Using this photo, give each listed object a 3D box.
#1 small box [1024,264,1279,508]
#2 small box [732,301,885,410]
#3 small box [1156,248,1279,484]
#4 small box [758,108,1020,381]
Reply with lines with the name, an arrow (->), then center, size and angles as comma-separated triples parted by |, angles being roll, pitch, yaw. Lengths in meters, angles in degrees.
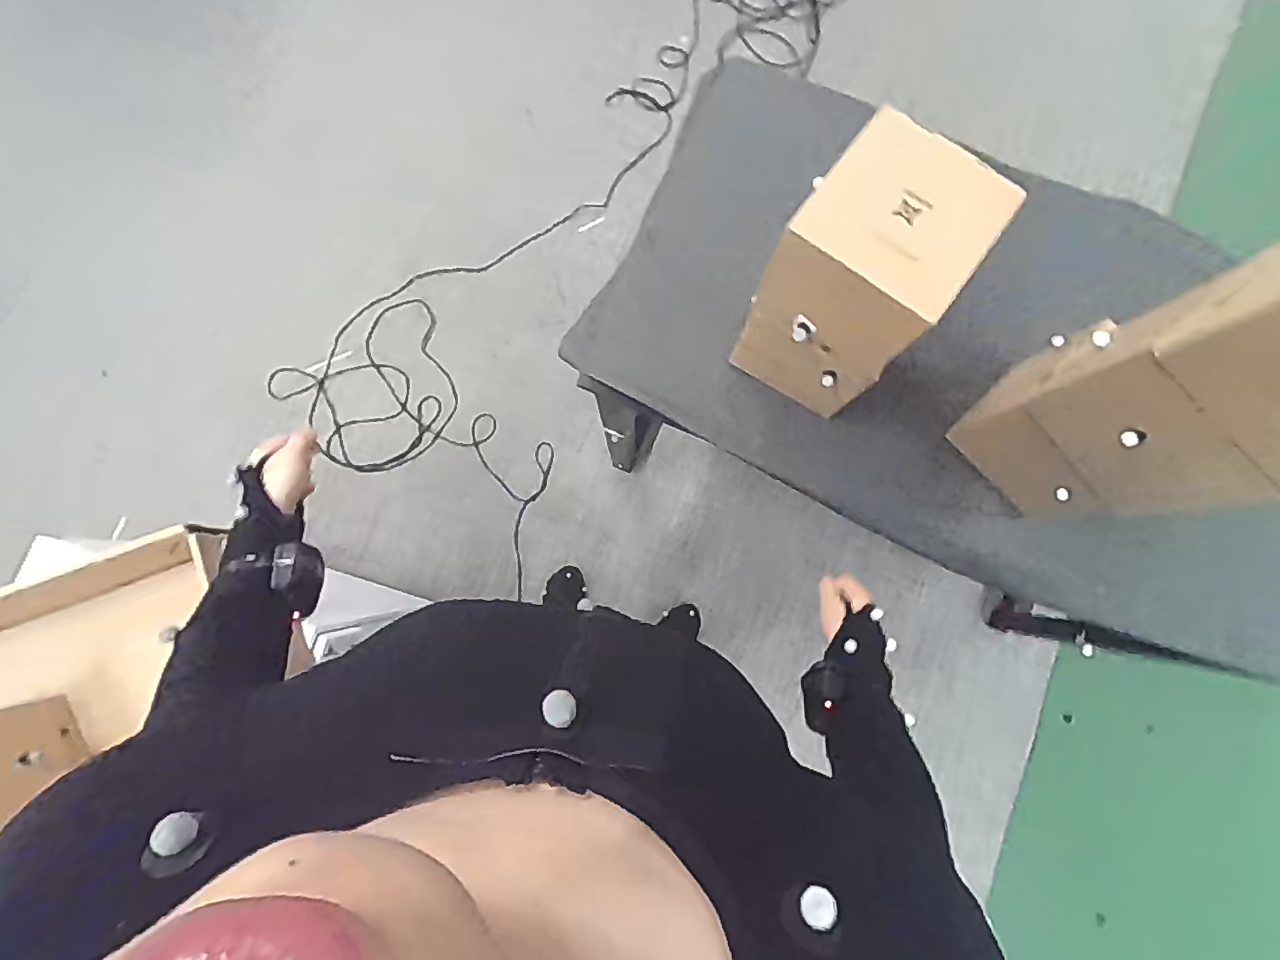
small box -> 0.570, -0.083, 0.569 | 0.168, 0.176, 0.179 | -35, 82, -7
small box -> 0.252, -0.217, 0.755 | 0.179, 0.176, 0.168 | 31, 81, 4
small box -> 0.570, -0.112, 0.409 | 0.168, 0.176, 0.179 | -37, 83, -7
small box -> 0.252, -0.242, 0.595 | 0.168, 0.176, 0.179 | 37, 83, 6
